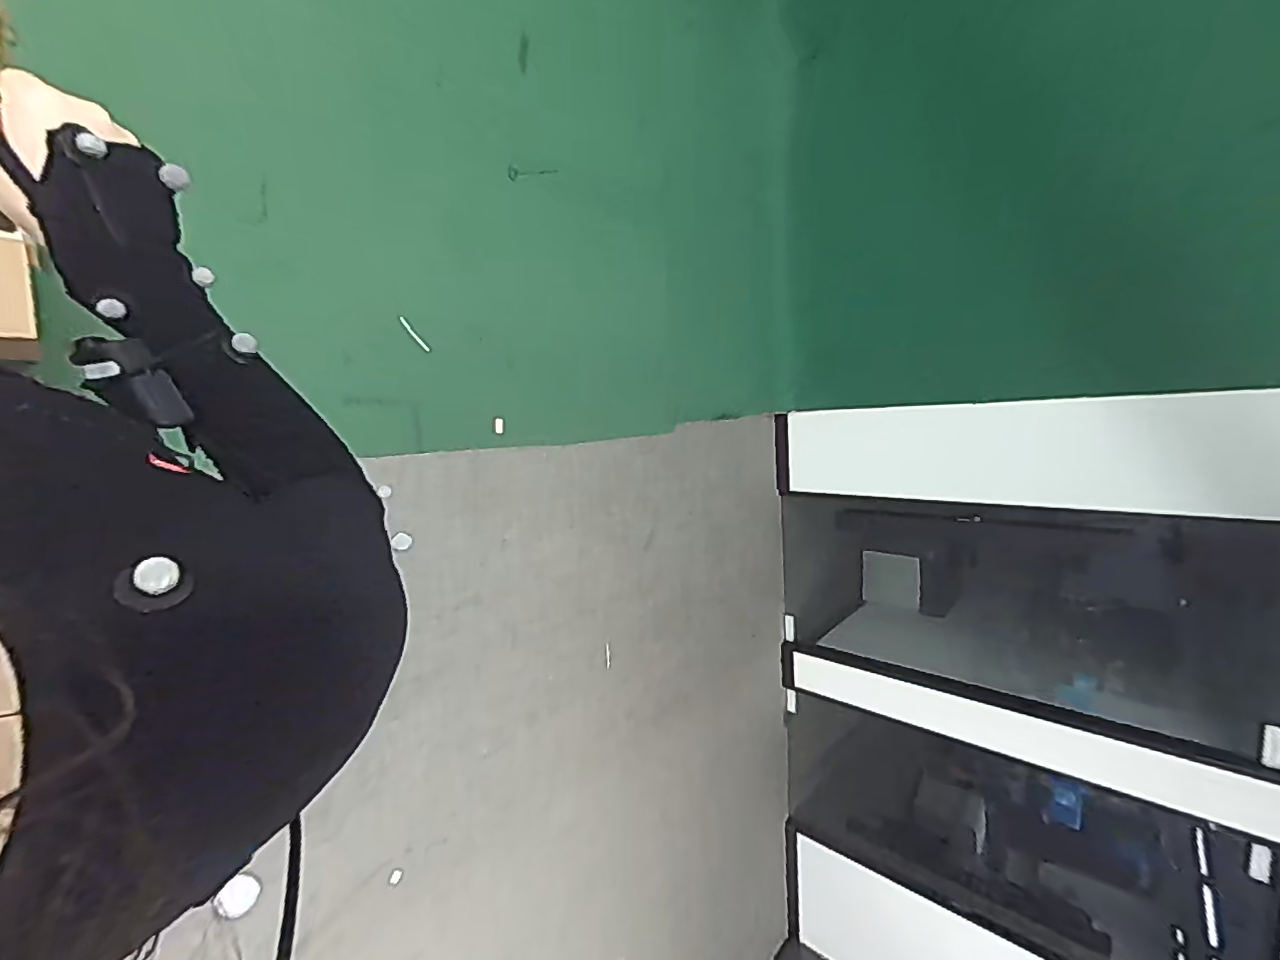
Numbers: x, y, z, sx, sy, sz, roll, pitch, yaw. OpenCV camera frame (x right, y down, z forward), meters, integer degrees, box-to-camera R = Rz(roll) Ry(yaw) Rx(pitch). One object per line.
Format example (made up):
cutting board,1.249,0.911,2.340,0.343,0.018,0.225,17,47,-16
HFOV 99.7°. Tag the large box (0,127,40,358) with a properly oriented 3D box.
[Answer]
large box,-1.168,-0.354,0.762,0.408,0.320,0.320,-8,99,-48

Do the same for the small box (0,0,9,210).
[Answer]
small box,-0.491,-0.259,0.302,0.179,0.176,0.168,-3,102,-48
